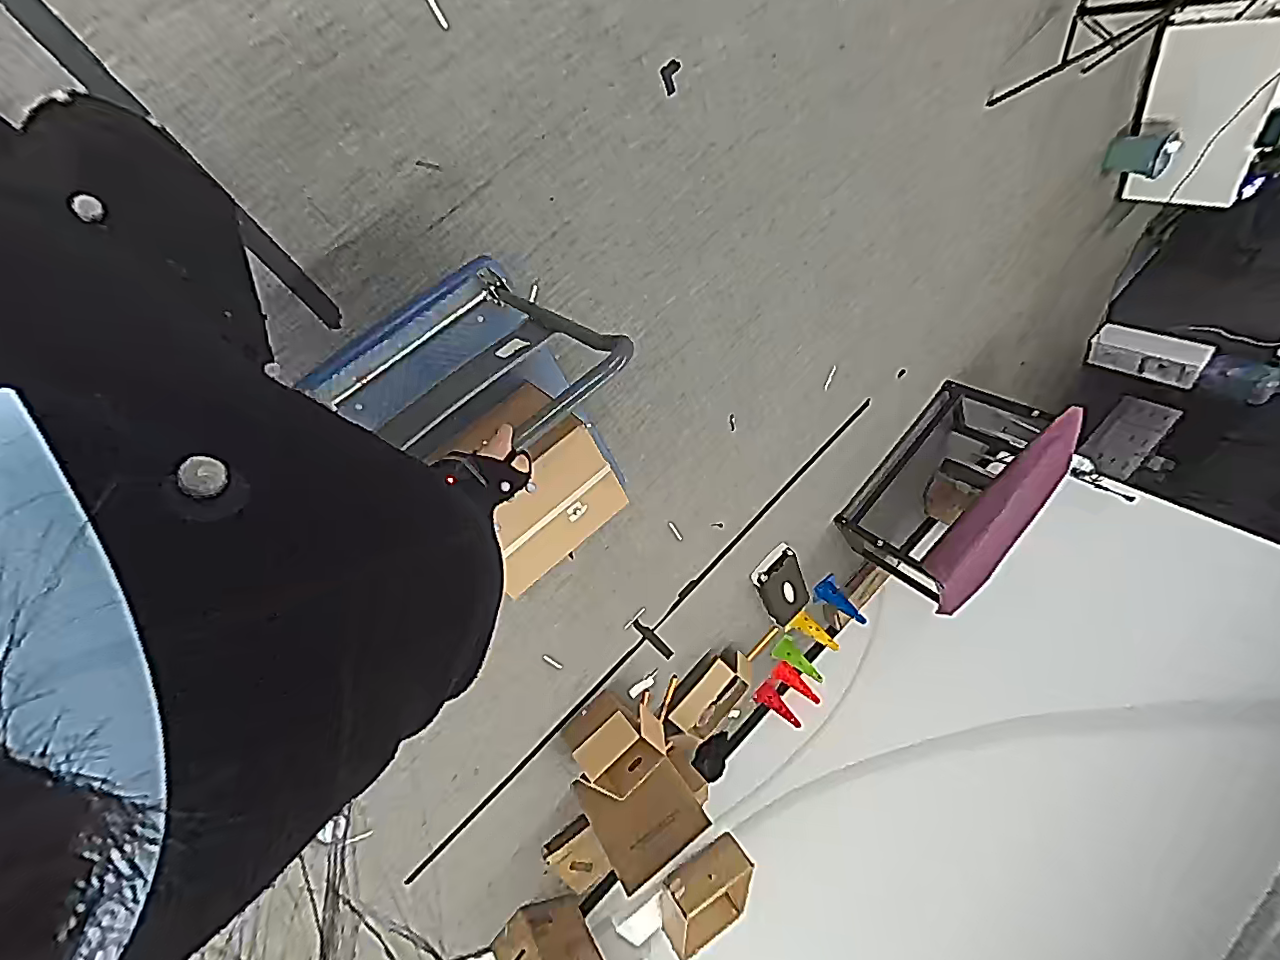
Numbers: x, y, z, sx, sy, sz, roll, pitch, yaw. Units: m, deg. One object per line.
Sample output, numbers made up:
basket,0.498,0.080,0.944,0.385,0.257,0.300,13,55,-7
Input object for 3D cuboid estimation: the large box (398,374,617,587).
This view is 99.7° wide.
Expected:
large box,-0.343,-0.007,1.428,0.408,0.320,0.320,-41,137,-13
